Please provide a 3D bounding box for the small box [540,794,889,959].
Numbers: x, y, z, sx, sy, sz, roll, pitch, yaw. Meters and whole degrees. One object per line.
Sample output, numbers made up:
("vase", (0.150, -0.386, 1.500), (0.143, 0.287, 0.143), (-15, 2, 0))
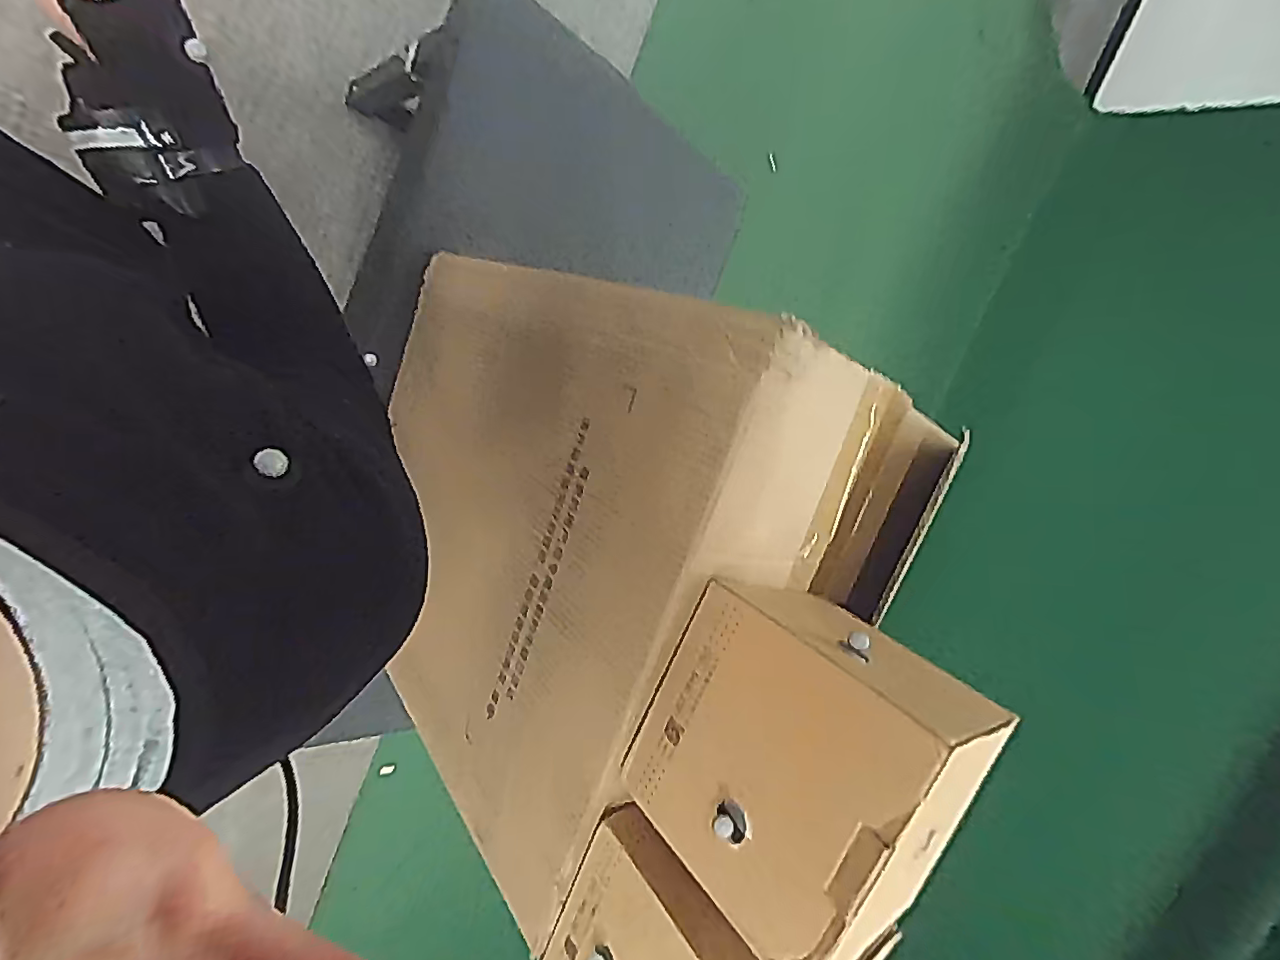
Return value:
("small box", (0.047, 0.379, 0.412), (0.179, 0.176, 0.168), (11, 105, -43))
